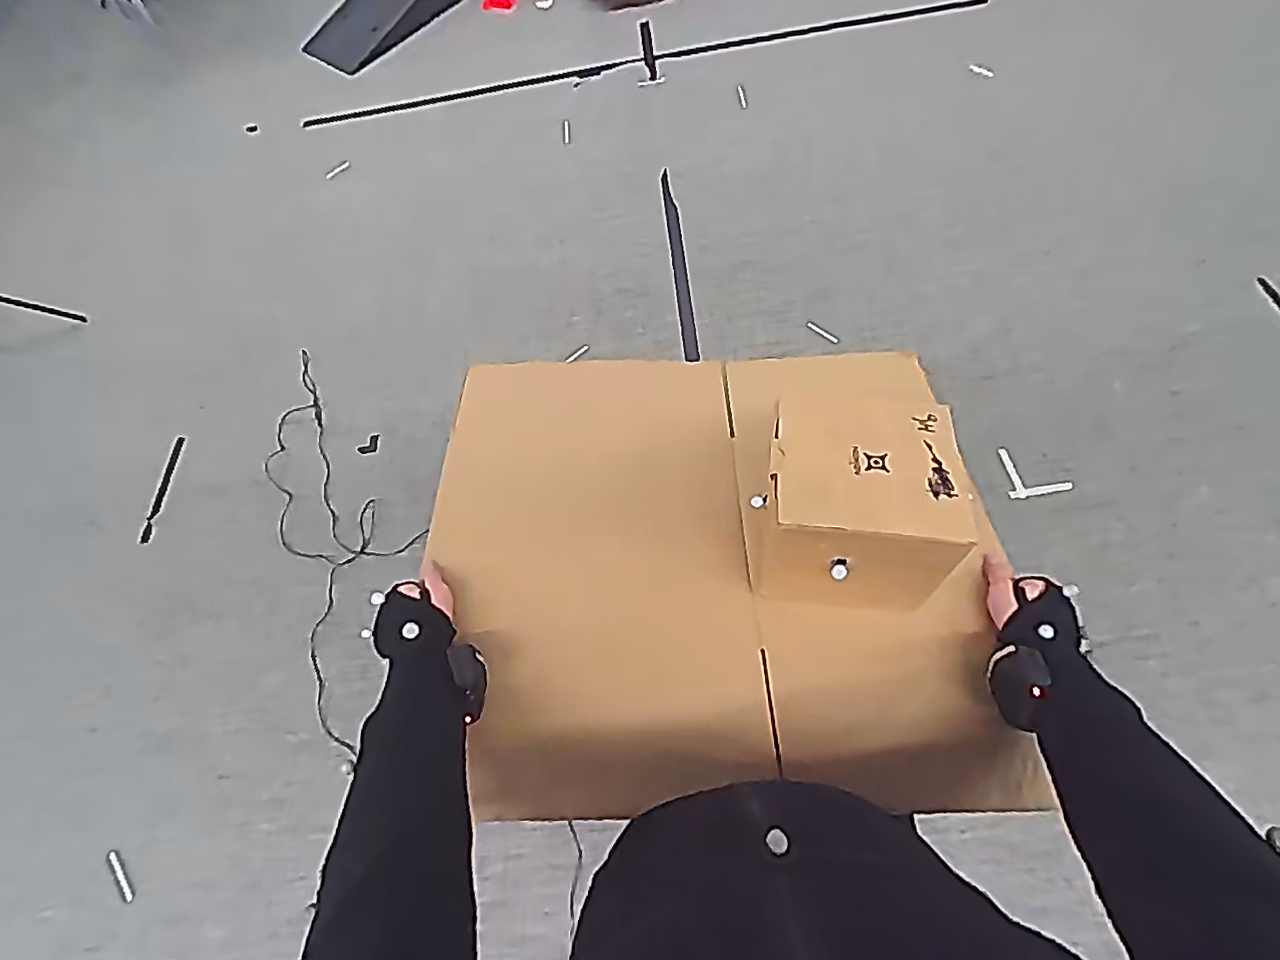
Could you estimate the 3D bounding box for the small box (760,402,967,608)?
[{"bbox_3d":[0.229,0.032,0.605,0.179,0.176,0.168,4,56,10],"label":"small box"}]
